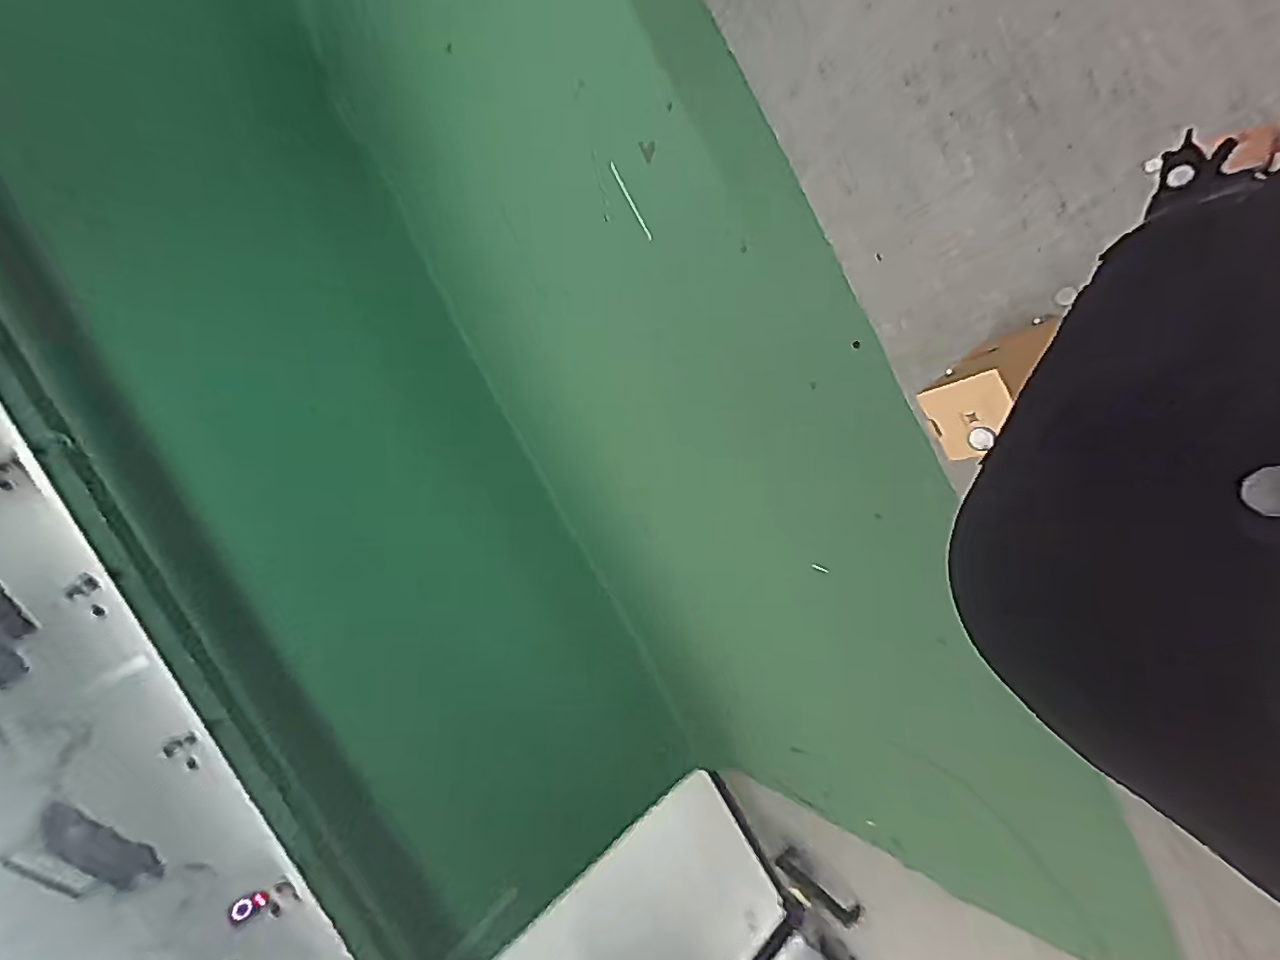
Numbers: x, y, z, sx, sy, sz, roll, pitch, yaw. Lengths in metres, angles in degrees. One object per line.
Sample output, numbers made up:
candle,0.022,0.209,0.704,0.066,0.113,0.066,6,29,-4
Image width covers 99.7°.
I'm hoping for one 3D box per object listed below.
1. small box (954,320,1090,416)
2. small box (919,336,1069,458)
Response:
small box,0.849,-0.237,1.201,0.179,0.176,0.168,61,154,-6
small box,0.728,-0.168,1.115,0.168,0.176,0.179,59,153,-4
